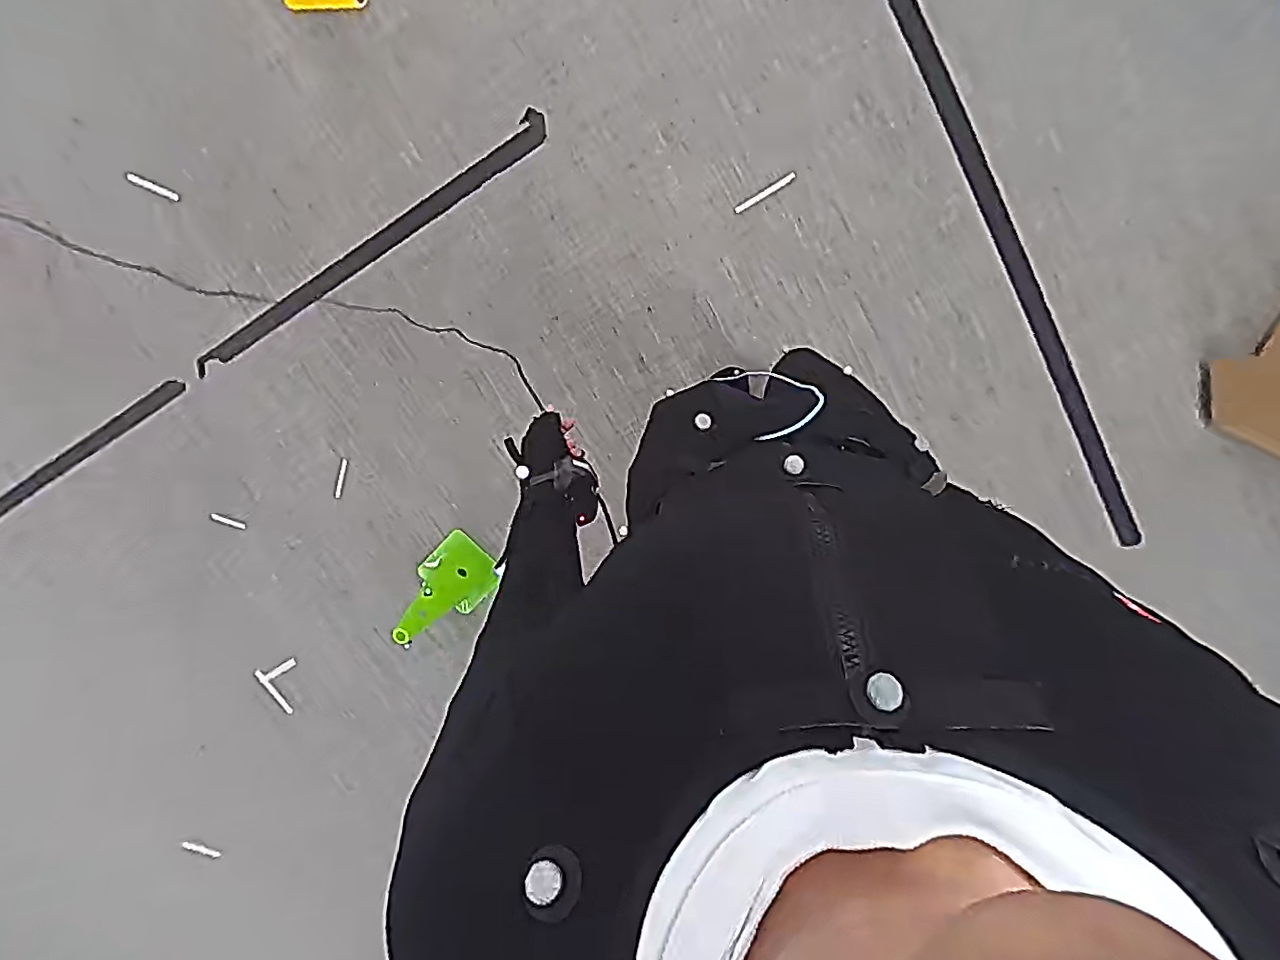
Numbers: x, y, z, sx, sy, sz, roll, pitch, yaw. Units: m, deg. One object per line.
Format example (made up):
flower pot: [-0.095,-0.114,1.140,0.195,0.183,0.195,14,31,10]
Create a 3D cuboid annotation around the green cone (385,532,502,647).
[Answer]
green cone: [-0.545,0.313,1.403,0.200,0.368,0.202,44,105,-6]
